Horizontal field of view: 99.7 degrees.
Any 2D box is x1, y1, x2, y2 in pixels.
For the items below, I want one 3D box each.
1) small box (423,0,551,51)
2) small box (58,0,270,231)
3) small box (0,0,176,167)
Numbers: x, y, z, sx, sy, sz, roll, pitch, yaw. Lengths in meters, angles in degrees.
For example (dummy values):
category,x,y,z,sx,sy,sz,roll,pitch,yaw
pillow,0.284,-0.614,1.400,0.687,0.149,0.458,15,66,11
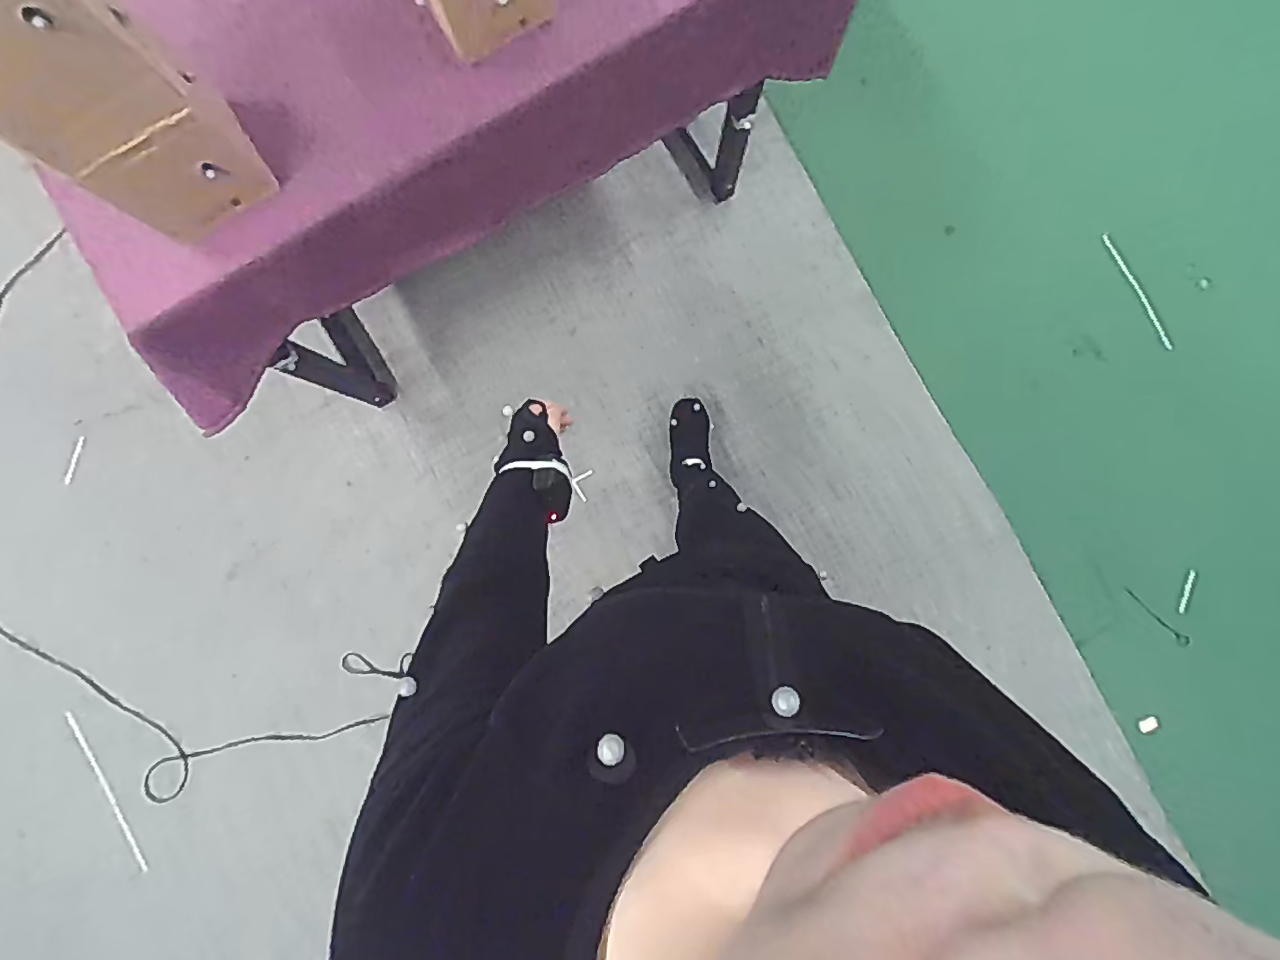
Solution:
category,x,y,z,sx,sy,sz,roll,pitch,yaw
small box,-0.237,-0.734,0.727,0.168,0.176,0.179,-31,88,-2
small box,-0.646,-0.463,0.715,0.168,0.176,0.179,-33,87,-2
small box,-0.649,-0.470,0.552,0.179,0.176,0.168,-35,88,-3
